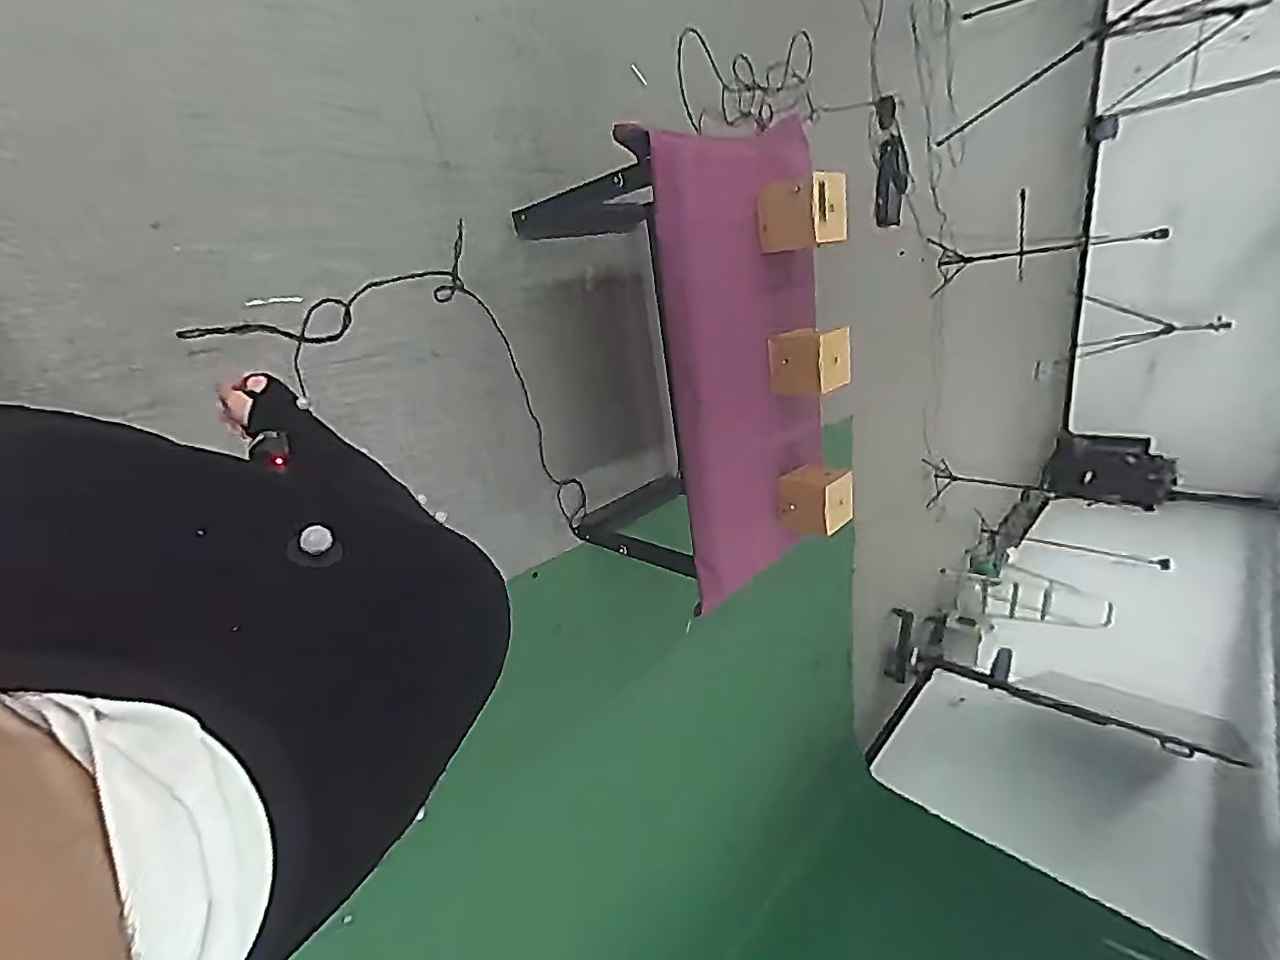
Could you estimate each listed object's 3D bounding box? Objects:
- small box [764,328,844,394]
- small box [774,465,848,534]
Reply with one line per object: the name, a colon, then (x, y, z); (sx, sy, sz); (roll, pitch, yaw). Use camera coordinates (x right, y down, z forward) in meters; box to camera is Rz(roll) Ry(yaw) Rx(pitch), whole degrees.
small box: (0.490, -0.358, 1.611); (0.179, 0.176, 0.168); (-25, 115, -38)
small box: (0.554, 0.056, 1.750); (0.179, 0.176, 0.168); (-23, 112, -39)
